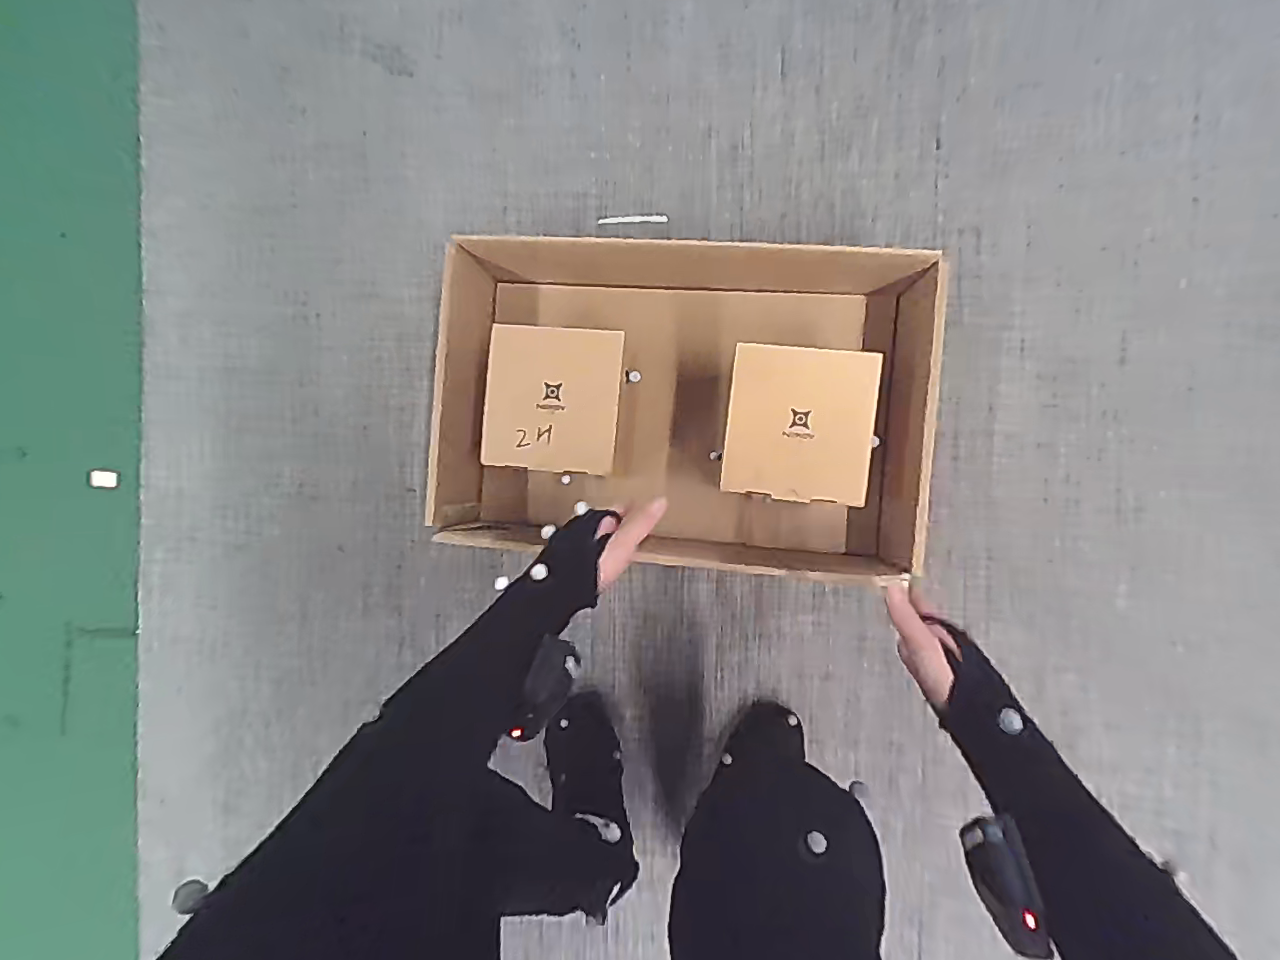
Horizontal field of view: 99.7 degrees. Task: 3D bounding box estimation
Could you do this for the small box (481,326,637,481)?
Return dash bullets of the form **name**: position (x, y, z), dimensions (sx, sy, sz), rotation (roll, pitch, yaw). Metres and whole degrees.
- **small box**: position (-0.098, -0.093, 0.732), dimensions (0.168, 0.176, 0.179), rotation (5, 90, 7)
